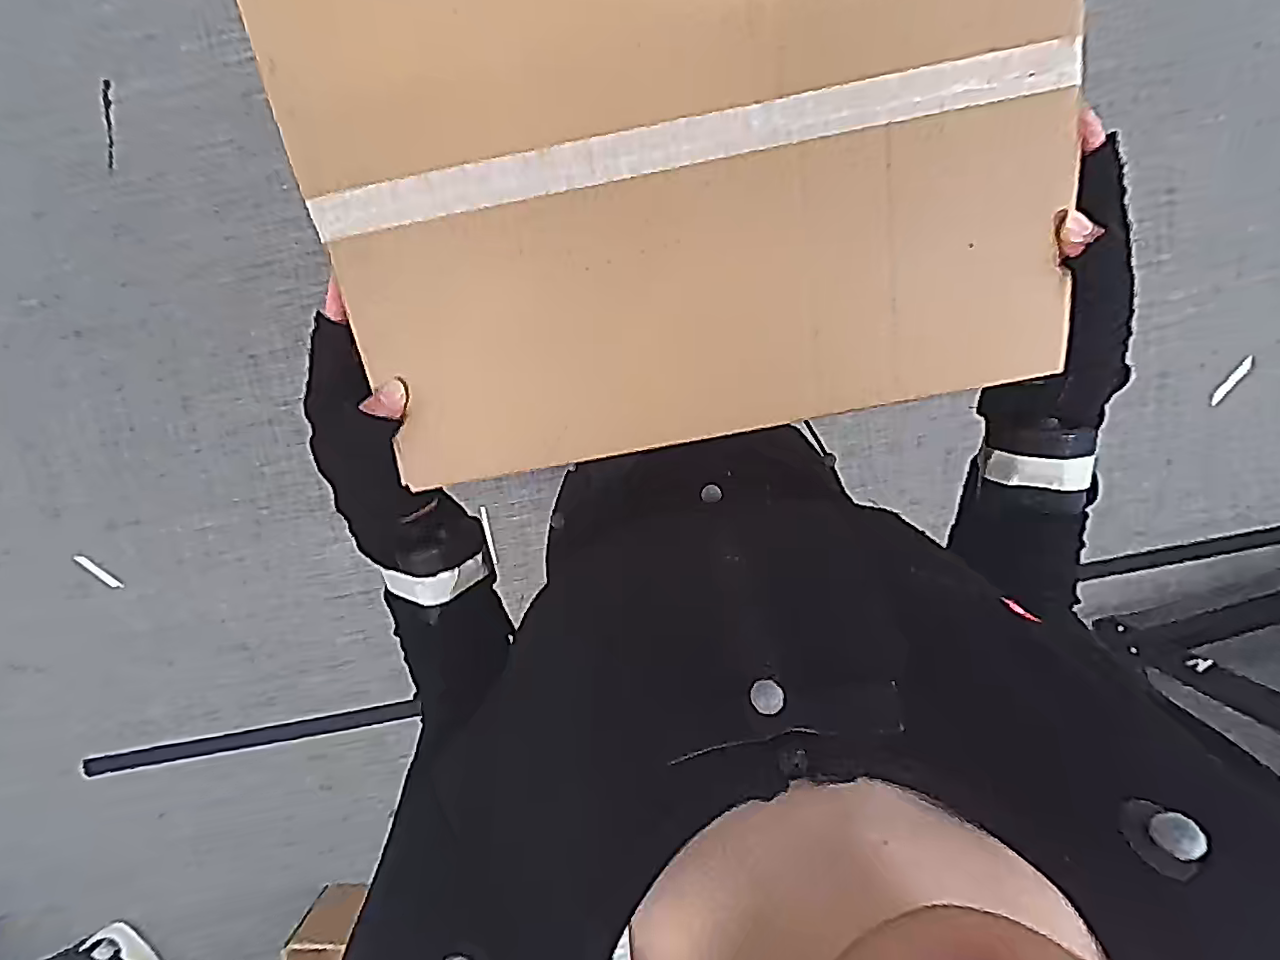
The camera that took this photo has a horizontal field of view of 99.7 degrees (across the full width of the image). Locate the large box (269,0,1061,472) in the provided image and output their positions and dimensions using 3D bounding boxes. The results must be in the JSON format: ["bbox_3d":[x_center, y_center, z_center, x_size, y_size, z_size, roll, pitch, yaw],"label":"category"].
[{"bbox_3d":[0.021,-0.226,0.438,0.408,0.320,0.320,-10,108,2],"label":"large box"}]
